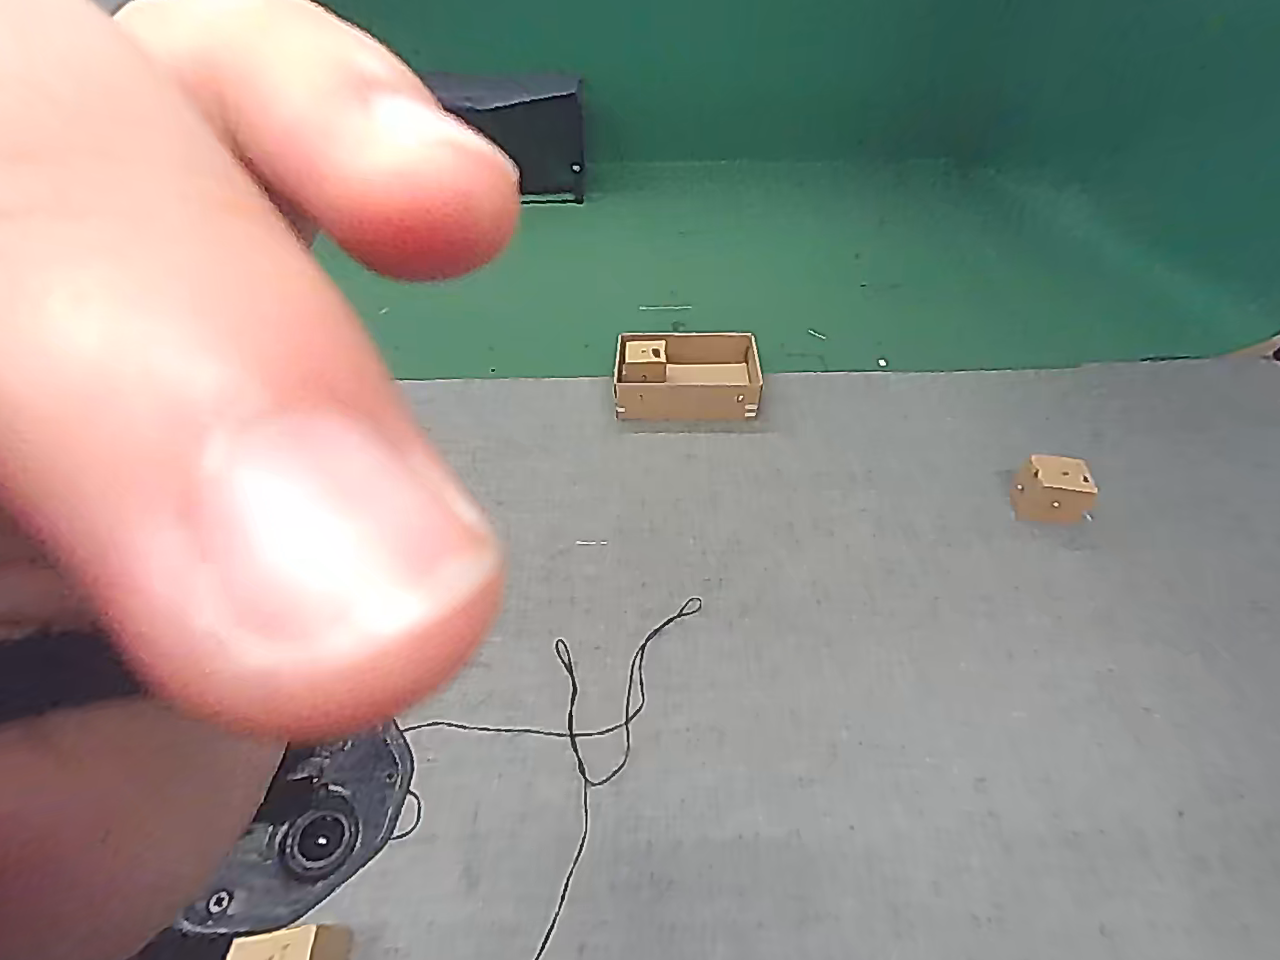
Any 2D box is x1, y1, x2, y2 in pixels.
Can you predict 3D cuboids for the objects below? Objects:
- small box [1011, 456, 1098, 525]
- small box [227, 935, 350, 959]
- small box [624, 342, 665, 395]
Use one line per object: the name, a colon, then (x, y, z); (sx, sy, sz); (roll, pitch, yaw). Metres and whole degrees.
small box: (1.435, 0.039, 1.892); (0.179, 0.176, 0.168); (7, 46, 10)
small box: (-0.680, 0.997, 1.025); (0.168, 0.176, 0.179); (-8, 45, -5)
small box: (0.022, -0.487, 2.378); (0.179, 0.176, 0.168); (-1, 47, 2)
